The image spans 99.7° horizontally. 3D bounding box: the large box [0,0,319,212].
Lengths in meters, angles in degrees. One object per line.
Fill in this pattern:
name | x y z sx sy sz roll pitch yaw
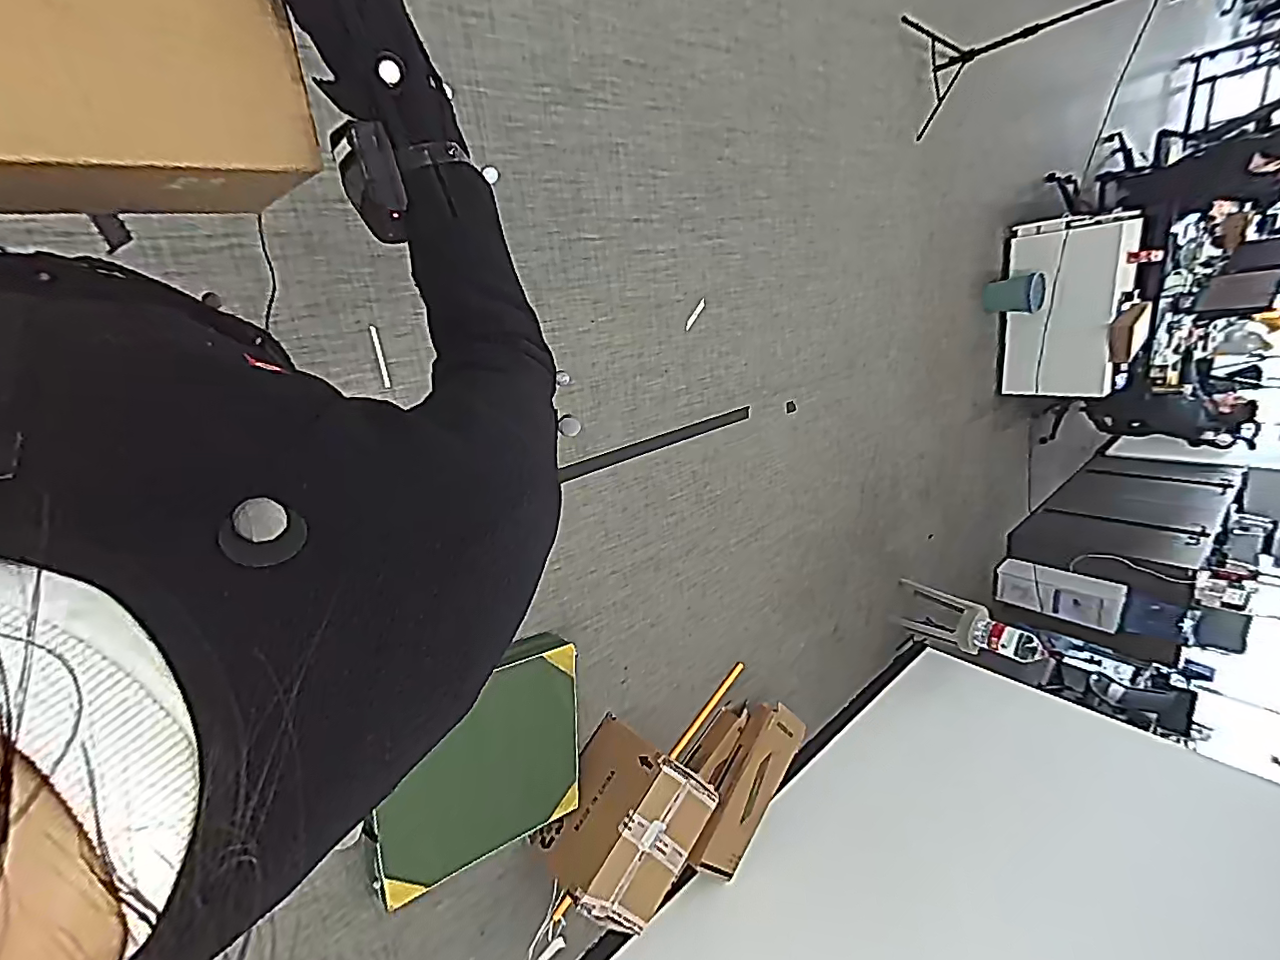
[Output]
large box | -0.486 -0.340 0.318 0.408 0.320 0.320 -22 120 -36
